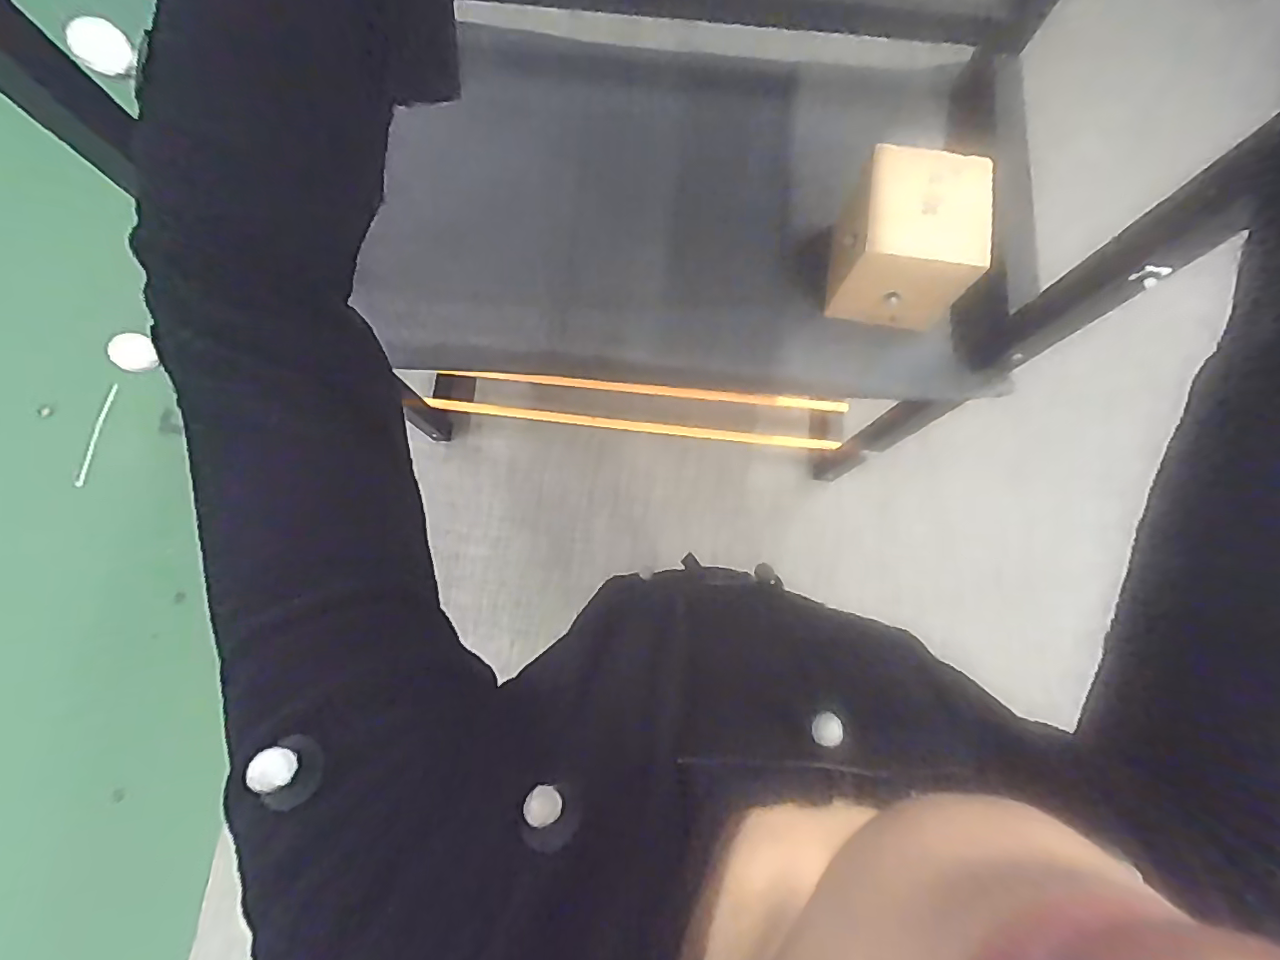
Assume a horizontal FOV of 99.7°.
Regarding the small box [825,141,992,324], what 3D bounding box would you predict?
[{"bbox_3d":[0.387,-0.356,0.804,0.168,0.176,0.179,10,77,1],"label":"small box"}]
